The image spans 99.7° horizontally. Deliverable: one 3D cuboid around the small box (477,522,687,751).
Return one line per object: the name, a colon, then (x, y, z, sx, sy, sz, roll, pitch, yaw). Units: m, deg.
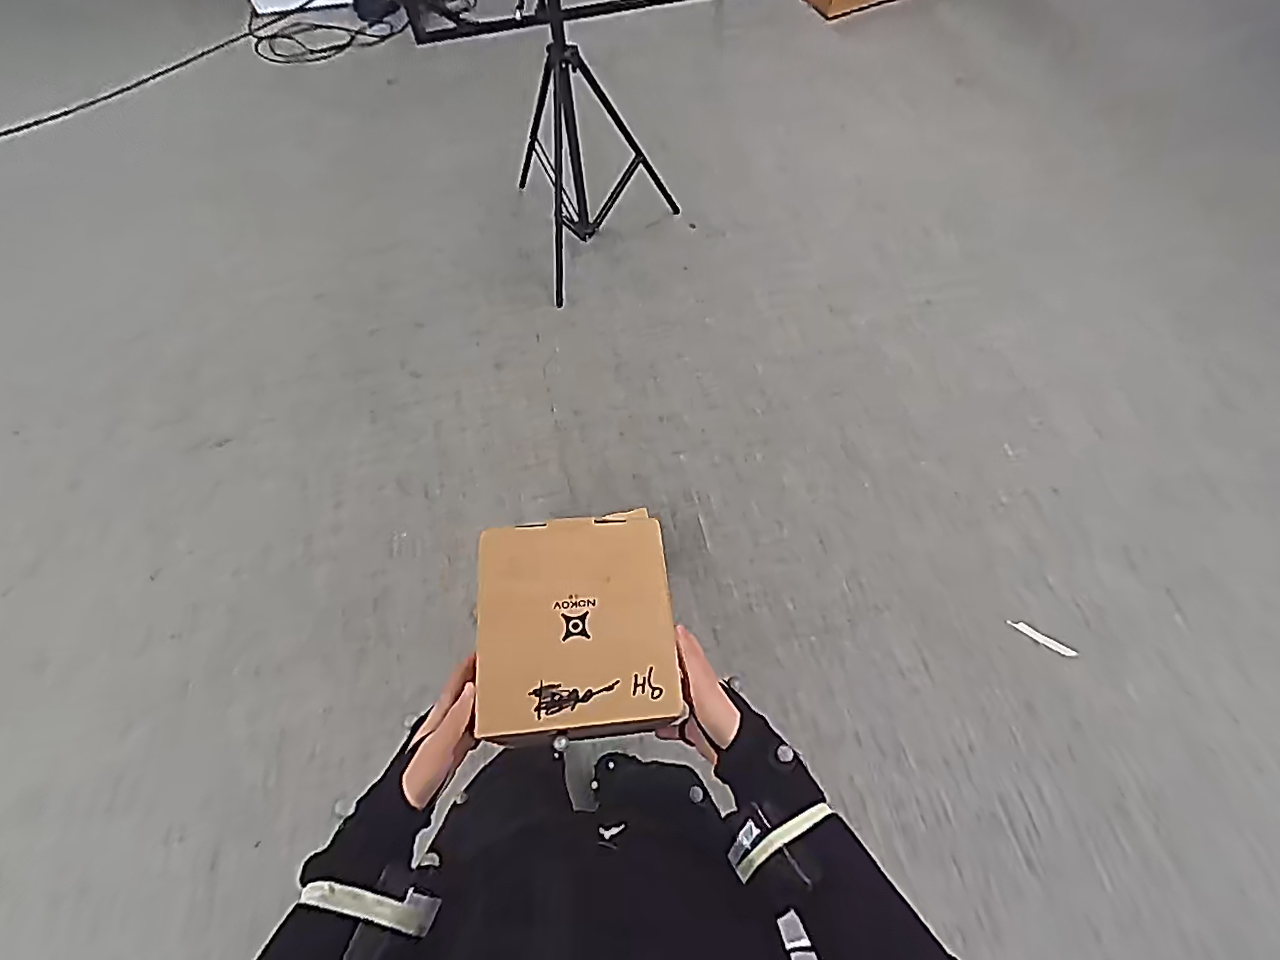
small box: (-0.058, 0.157, 0.528, 0.168, 0.176, 0.179, -3, 62, -7)
